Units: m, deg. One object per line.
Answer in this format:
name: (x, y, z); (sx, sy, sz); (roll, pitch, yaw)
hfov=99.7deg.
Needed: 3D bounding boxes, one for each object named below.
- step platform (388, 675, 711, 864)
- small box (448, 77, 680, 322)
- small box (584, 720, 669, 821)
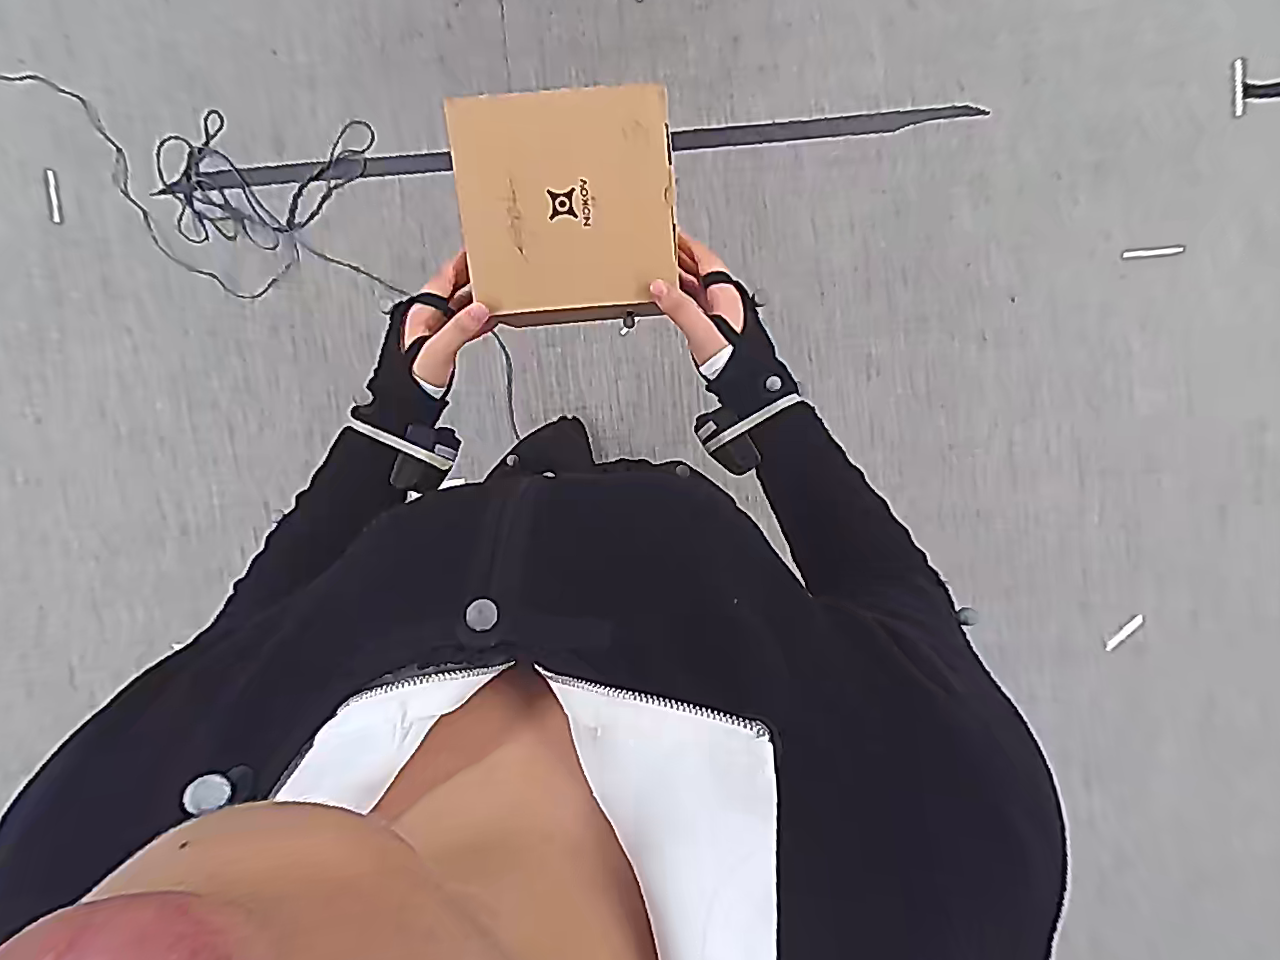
step platform: (-0.189, 0.642, 1.233); (0.684, 0.204, 0.286); (-7, 94, 2)
small box: (-0.061, -0.249, 0.520); (0.179, 0.176, 0.168); (-6, 102, 0)
small box: (-0.027, 0.656, 1.267); (0.179, 0.176, 0.168); (-9, 94, 1)
